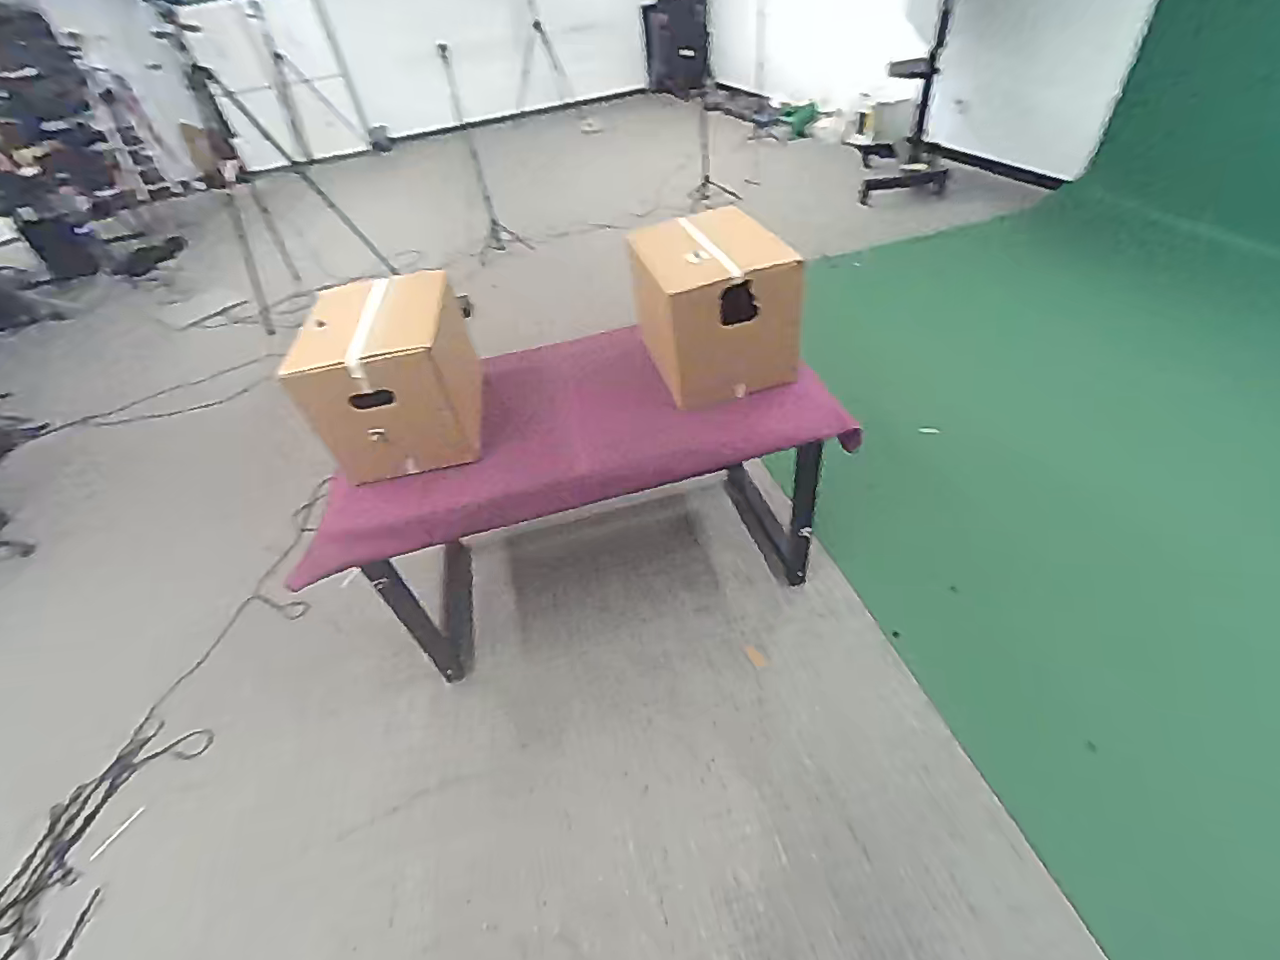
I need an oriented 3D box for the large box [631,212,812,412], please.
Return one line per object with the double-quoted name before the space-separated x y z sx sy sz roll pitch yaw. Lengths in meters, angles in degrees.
"large box" 0.192 -0.437 1.380 0.320 0.320 0.408 -17 44 -4
